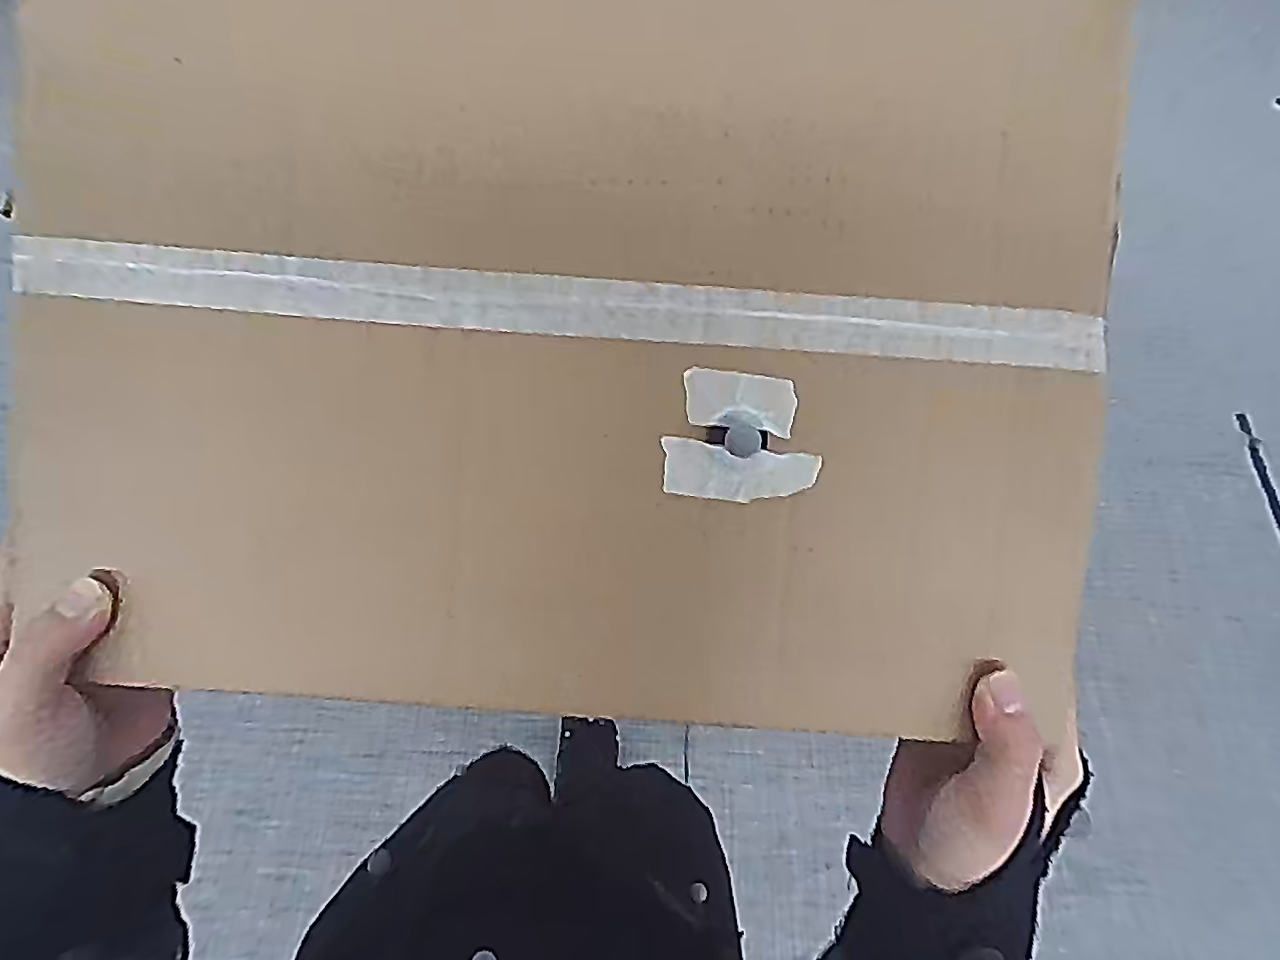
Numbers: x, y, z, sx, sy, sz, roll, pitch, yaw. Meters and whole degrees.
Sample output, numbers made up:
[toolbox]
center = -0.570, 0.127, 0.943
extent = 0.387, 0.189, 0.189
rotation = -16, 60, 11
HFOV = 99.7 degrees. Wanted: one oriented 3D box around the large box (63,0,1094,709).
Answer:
[large box]
center = -0.027, -0.070, 0.366
extent = 0.408, 0.320, 0.320
rotation = 4, 92, -2
